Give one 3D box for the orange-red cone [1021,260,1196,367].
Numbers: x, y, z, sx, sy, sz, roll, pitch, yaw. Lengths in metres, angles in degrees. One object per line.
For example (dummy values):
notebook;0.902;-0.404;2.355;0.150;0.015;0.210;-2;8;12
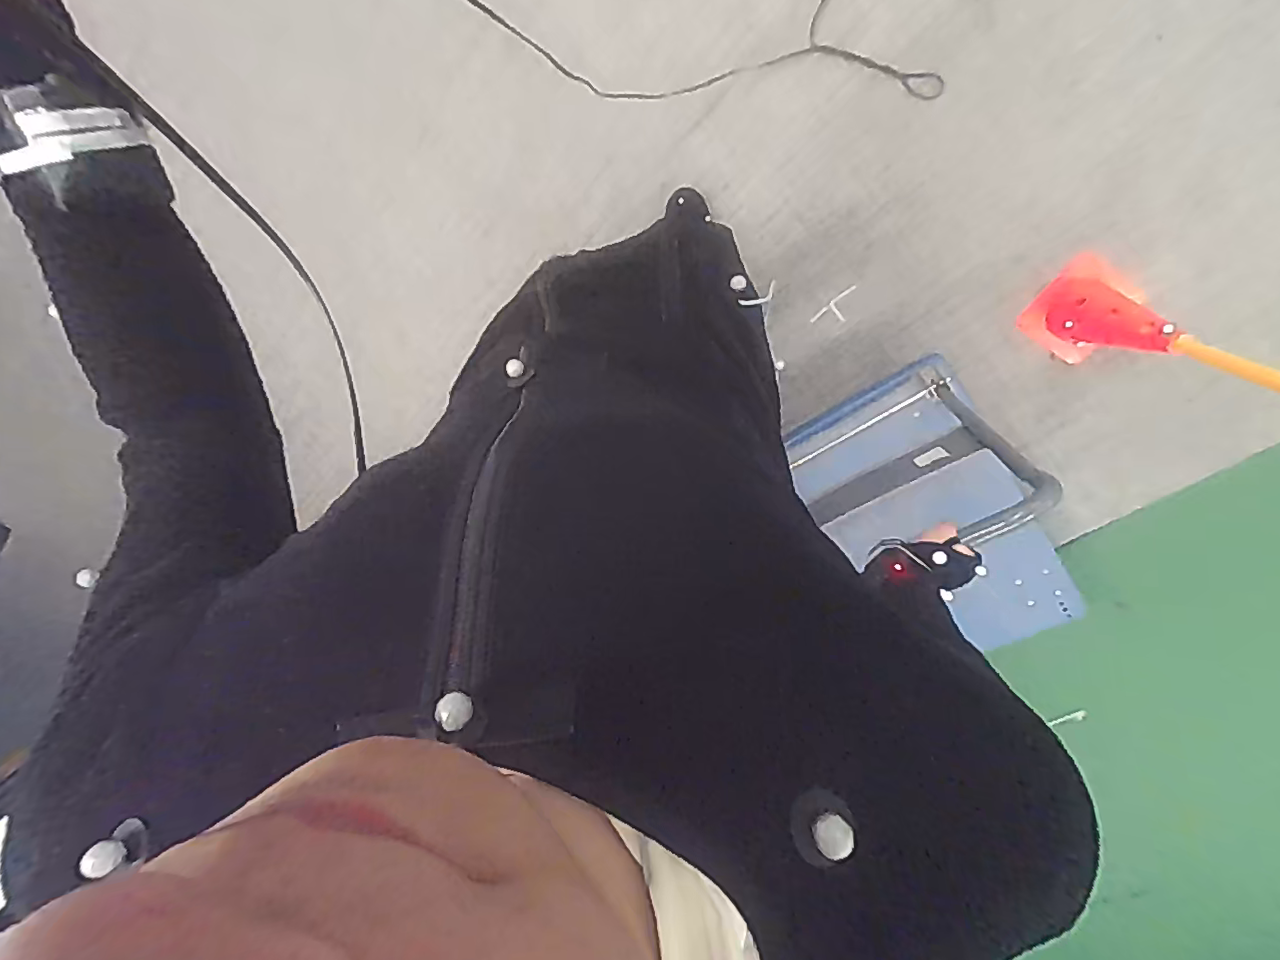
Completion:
orange-red cone;1.026;-0.320;1.144;0.198;0.360;0.199;33;117;-7
